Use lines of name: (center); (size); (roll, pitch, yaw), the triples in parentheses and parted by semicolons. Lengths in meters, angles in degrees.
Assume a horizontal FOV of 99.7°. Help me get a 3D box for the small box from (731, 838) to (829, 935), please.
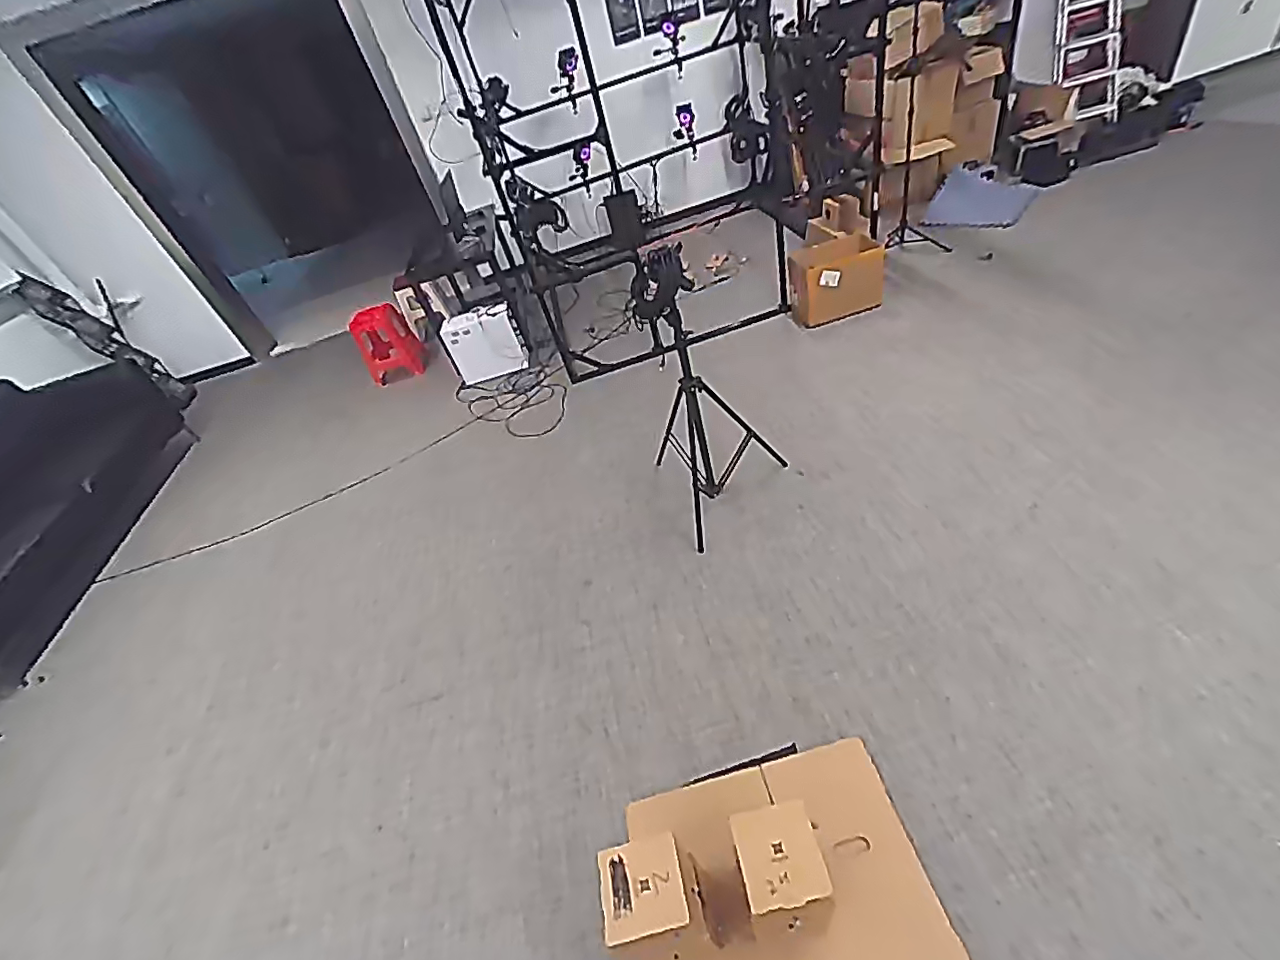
small box: (0.327, 0.936, 1.266); (0.179, 0.176, 0.168); (-16, 41, 2)

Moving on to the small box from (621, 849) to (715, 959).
small box: (0.070, 1.008, 1.278); (0.179, 0.176, 0.168); (-18, 40, 2)

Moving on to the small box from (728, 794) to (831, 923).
small box: (0.297, 0.813, 1.160); (0.168, 0.176, 0.179); (-16, 41, 2)
